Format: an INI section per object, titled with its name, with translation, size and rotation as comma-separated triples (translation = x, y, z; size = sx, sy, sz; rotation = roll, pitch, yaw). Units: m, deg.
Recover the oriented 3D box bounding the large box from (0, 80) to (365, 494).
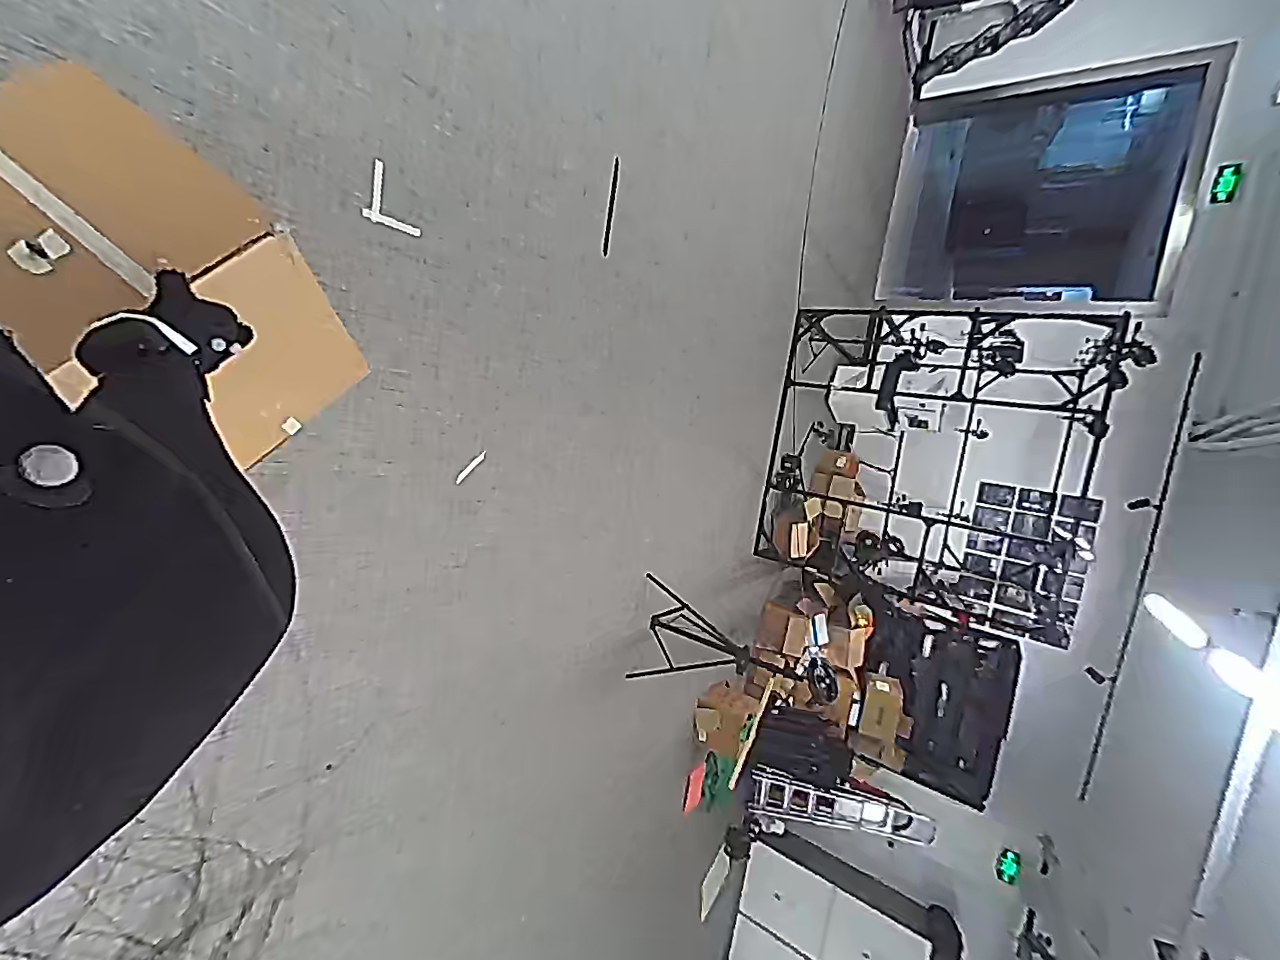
[large box]
translation = -0.695, -0.251, 0.768
size = 0.320, 0.408, 0.320
rotation = -49, 172, -21
